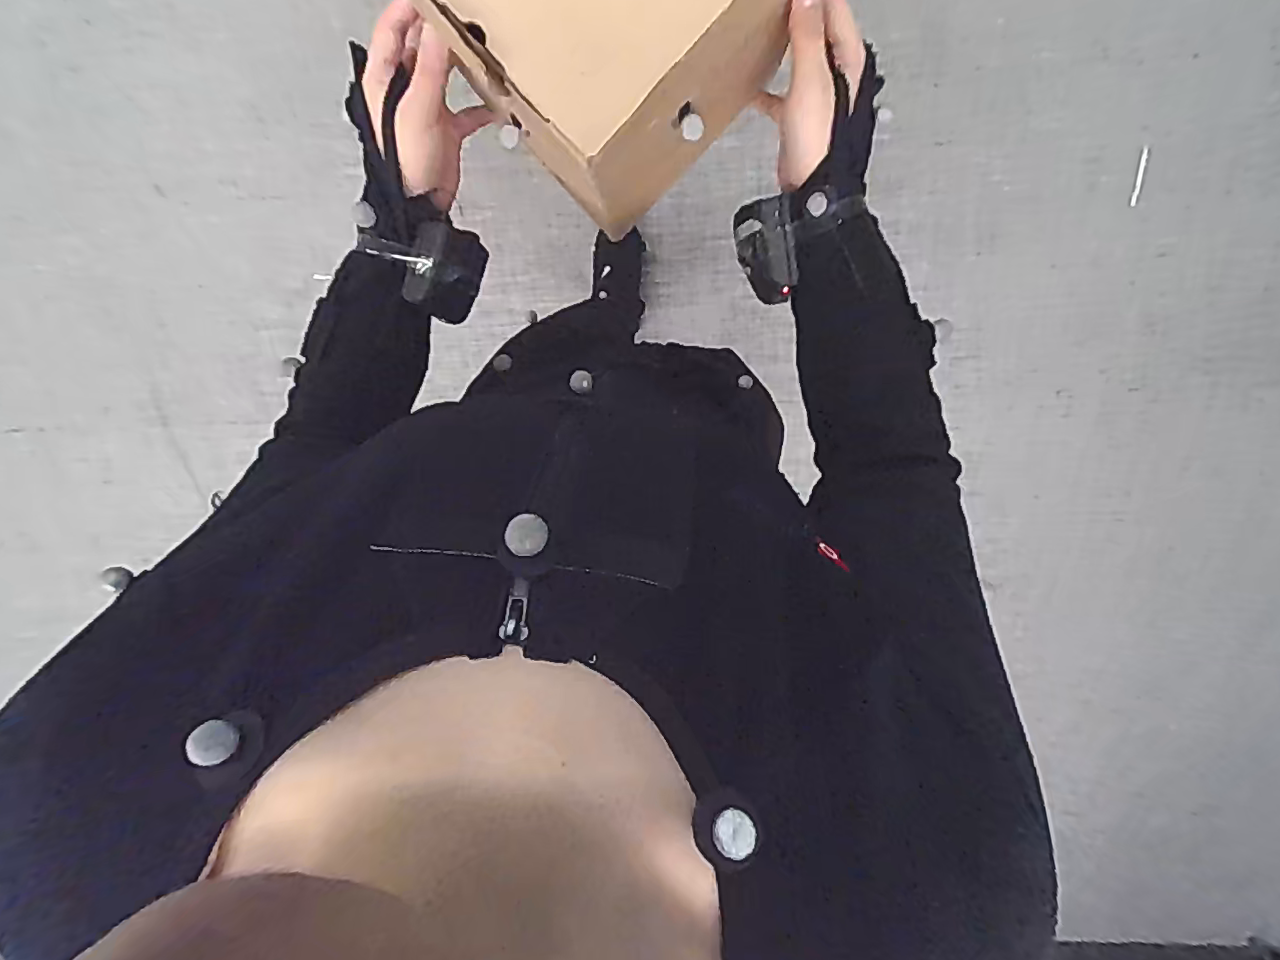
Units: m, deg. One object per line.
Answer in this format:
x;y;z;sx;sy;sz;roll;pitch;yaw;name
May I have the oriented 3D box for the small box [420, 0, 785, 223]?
-0.018;-0.299;0.340;0.168;0.176;0.179;45;100;-5;small box
